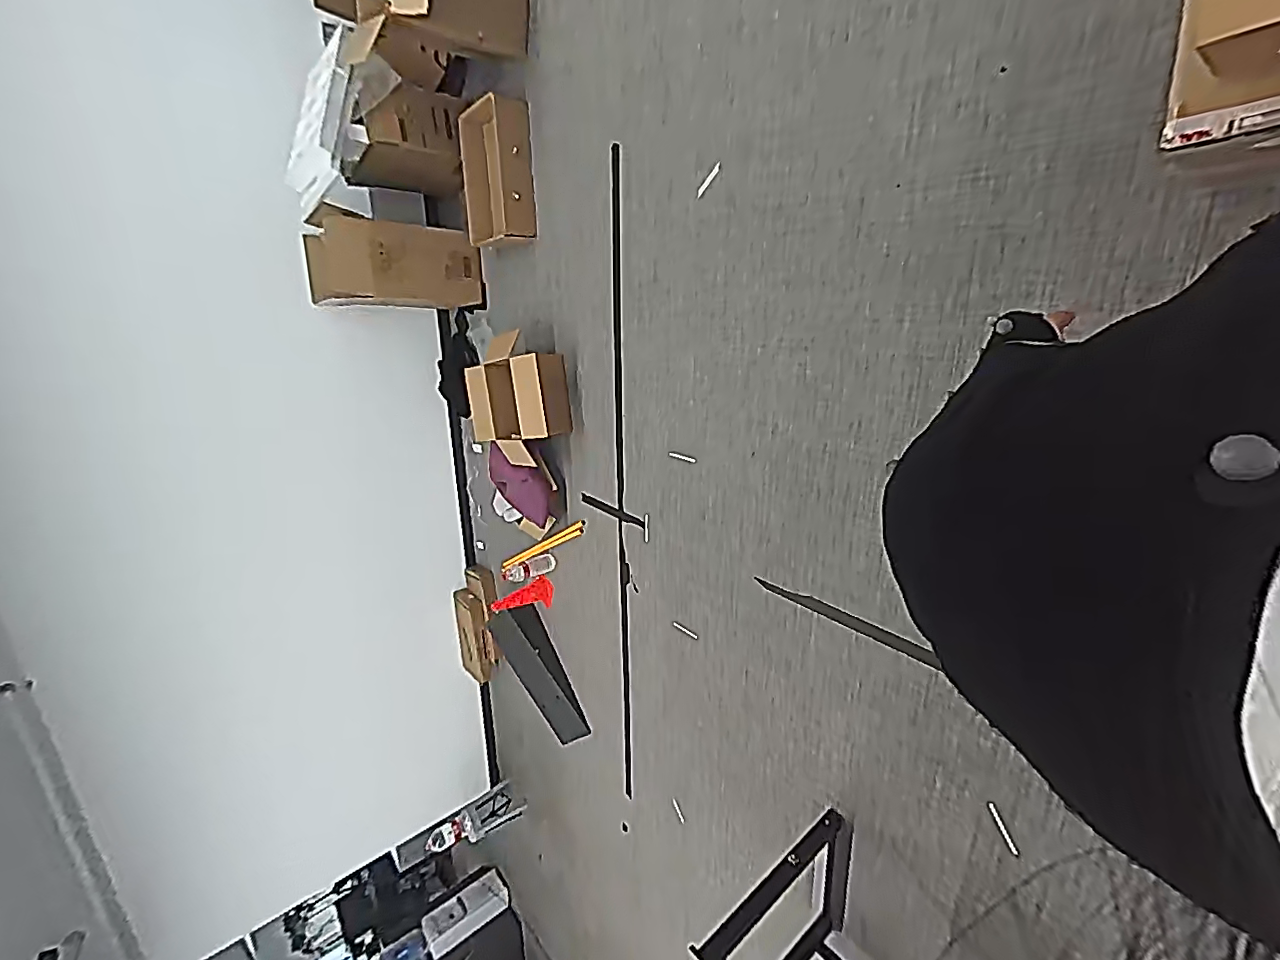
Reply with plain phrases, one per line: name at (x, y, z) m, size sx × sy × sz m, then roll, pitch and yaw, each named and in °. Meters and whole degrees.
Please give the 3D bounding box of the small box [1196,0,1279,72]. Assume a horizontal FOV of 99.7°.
small box at (0.689, -0.544, 0.530) m, size 0.168 × 0.176 × 0.179 m, roll 14°, pitch 117°, yaw 50°
